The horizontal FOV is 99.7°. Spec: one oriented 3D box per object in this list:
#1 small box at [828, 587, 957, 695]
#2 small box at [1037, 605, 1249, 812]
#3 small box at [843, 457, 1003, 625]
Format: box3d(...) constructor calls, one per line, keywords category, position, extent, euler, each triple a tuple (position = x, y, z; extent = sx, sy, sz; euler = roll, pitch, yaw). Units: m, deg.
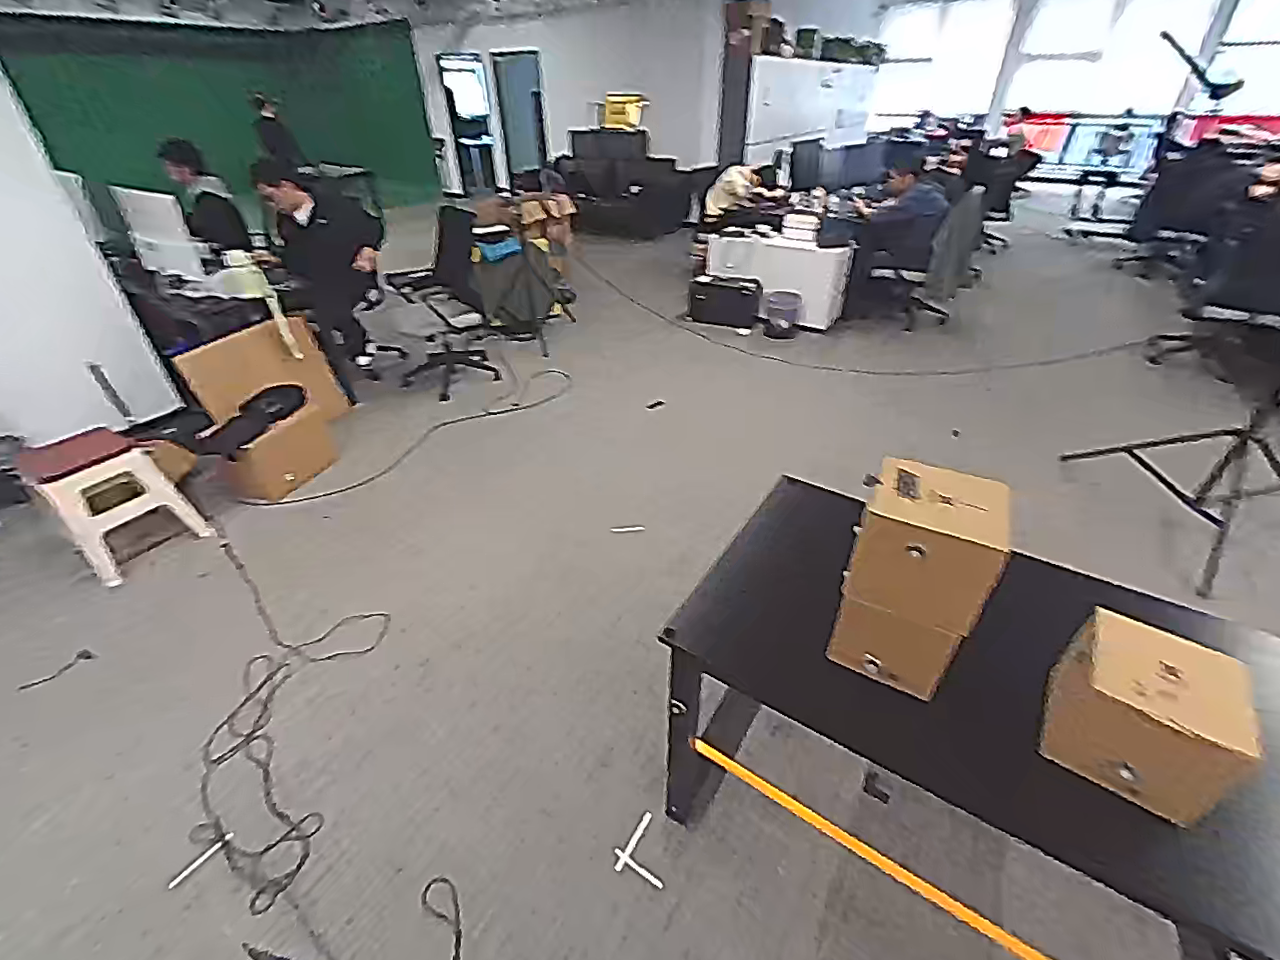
box3d(category="small box", position=(0.432, 0.224, 0.924), extent=(0.168, 0.176, 0.179), euler=(17, 40, 25))
box3d(category="small box", position=(0.704, 0.322, 0.777), extent=(0.168, 0.176, 0.179), euler=(23, 42, 30))
box3d(category="small box", position=(0.426, 0.091, 0.826), extent=(0.179, 0.176, 0.168), euler=(17, 39, 24))
